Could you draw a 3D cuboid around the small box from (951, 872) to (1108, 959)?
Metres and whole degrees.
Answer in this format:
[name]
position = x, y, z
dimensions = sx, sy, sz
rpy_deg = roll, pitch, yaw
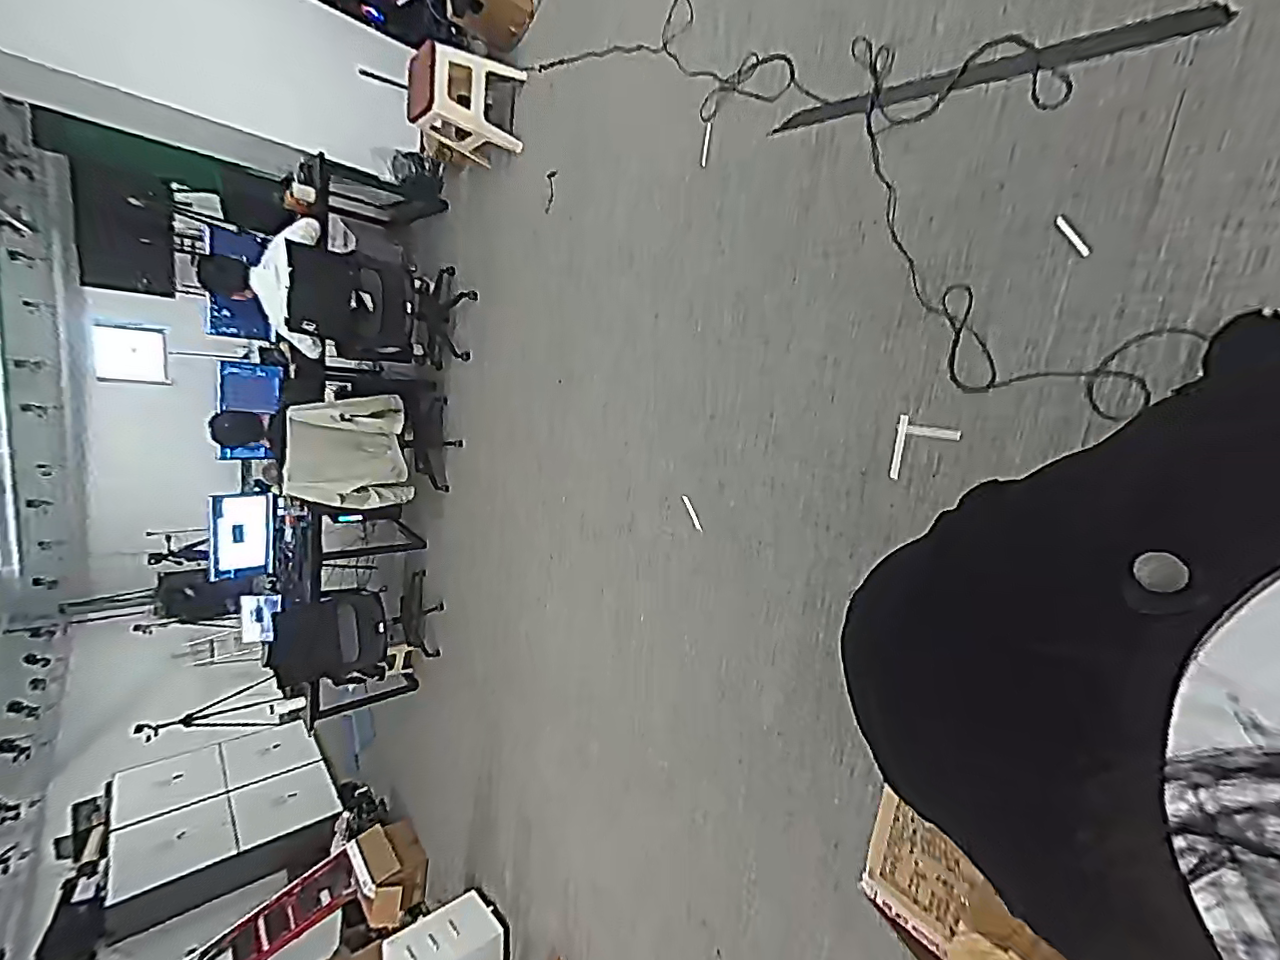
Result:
[small box]
position = 0.576, 0.750, 0.813
dimensions = 0.168, 0.176, 0.179
rpy_deg = 22, 106, 43
